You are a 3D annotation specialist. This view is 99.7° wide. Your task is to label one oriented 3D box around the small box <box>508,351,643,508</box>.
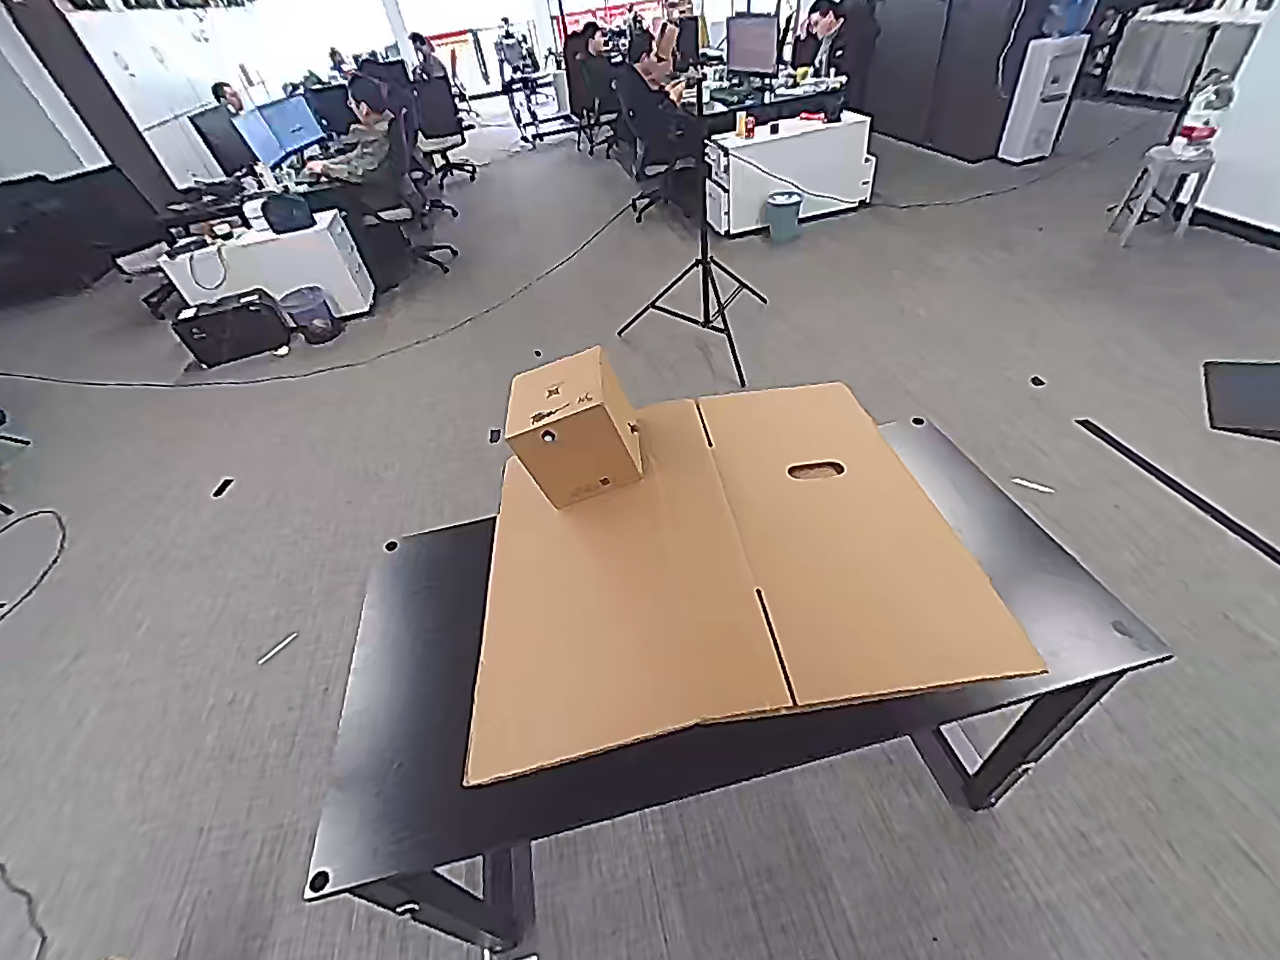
[{"bbox_3d":[-0.103,-0.084,0.921,0.168,0.176,0.179,-19,40,11],"label":"small box"}]
